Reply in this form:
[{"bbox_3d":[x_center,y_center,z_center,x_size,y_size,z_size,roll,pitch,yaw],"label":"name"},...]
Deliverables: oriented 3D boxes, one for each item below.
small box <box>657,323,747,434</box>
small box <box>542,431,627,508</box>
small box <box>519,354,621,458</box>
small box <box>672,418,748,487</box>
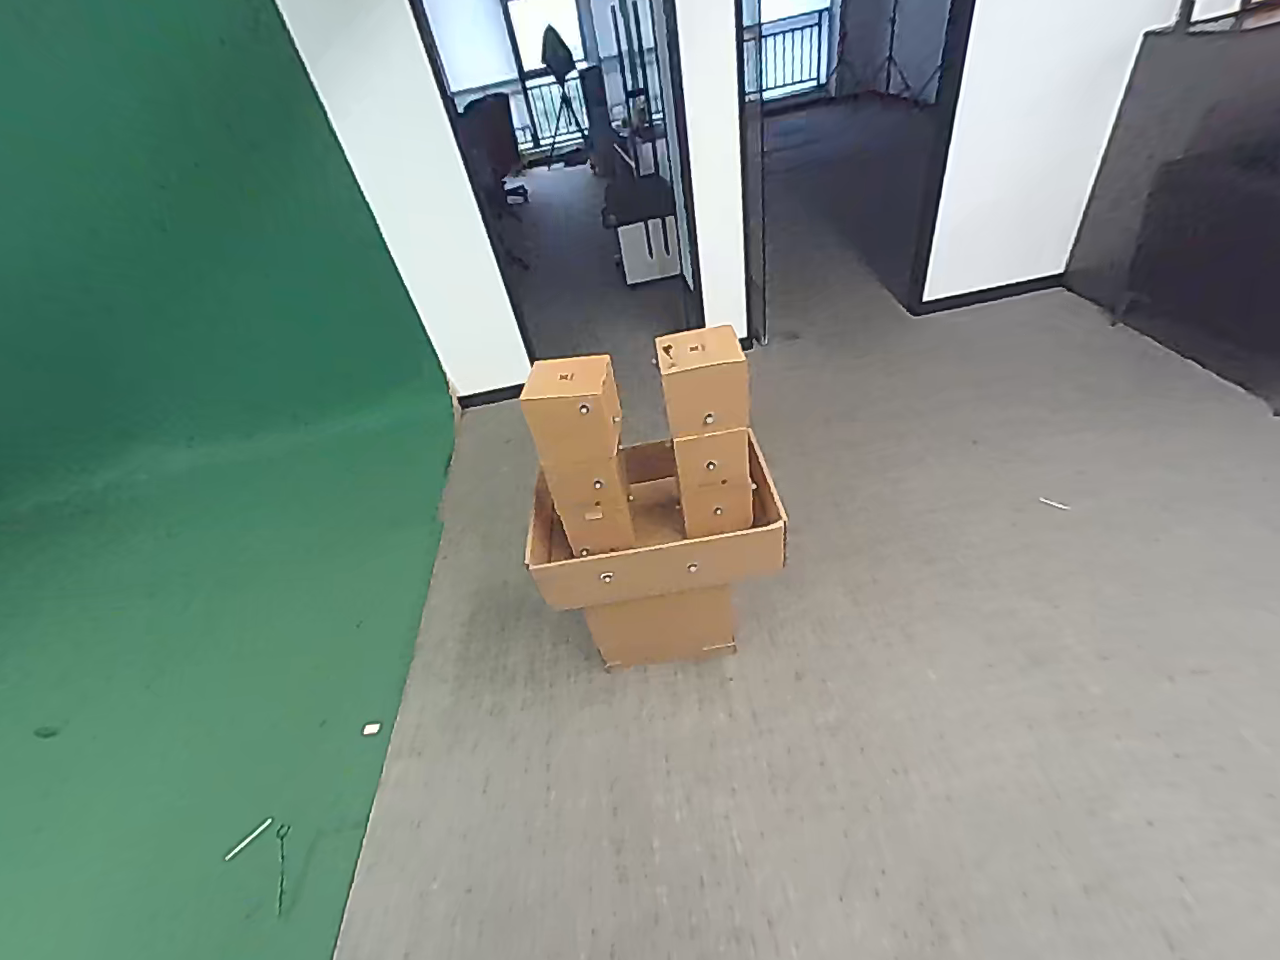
[{"bbox_3d":[0.137,-0.222,1.197,0.179,0.176,0.168,-9,41,4],"label":"small box"},{"bbox_3d":[-0.127,-0.043,1.320,0.168,0.176,0.179,-6,40,6],"label":"small box"},{"bbox_3d":[-0.147,-0.162,1.210,0.179,0.176,0.168,-3,41,8],"label":"small box"},{"bbox_3d":[0.163,-0.098,1.303,0.168,0.176,0.179,-10,41,3],"label":"small box"}]
